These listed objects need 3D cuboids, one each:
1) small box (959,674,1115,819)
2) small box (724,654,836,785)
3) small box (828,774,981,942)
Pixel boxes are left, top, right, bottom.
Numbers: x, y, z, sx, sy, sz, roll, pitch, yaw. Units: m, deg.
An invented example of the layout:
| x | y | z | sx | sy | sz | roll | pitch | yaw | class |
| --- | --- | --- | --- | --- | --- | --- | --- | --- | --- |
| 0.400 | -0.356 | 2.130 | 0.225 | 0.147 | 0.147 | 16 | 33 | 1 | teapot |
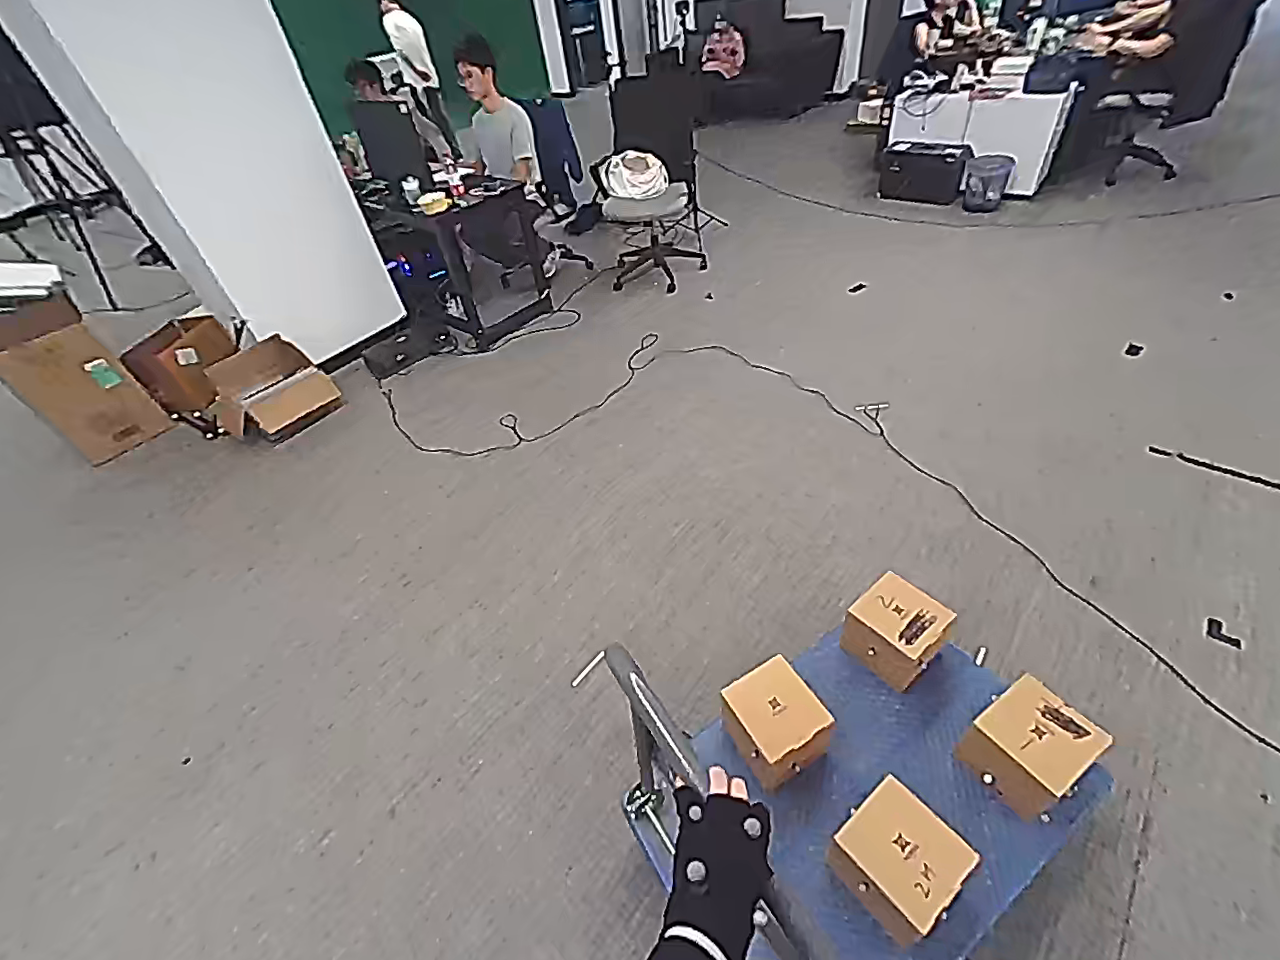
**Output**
| x | y | z | sx | sy | sz | roll | pitch | yaw | class |
| --- | --- | --- | --- | --- | --- | --- | --- | --- | --- |
| 0.778 | 0.533 | 1.082 | 0.179 | 0.176 | 0.168 | -29 | 46 | -17 | small box |
| 0.295 | 0.525 | 1.183 | 0.168 | 0.176 | 0.179 | -25 | 47 | -16 | small box |
| 0.466 | 0.686 | 0.982 | 0.168 | 0.176 | 0.179 | -32 | 48 | -21 | small box |
